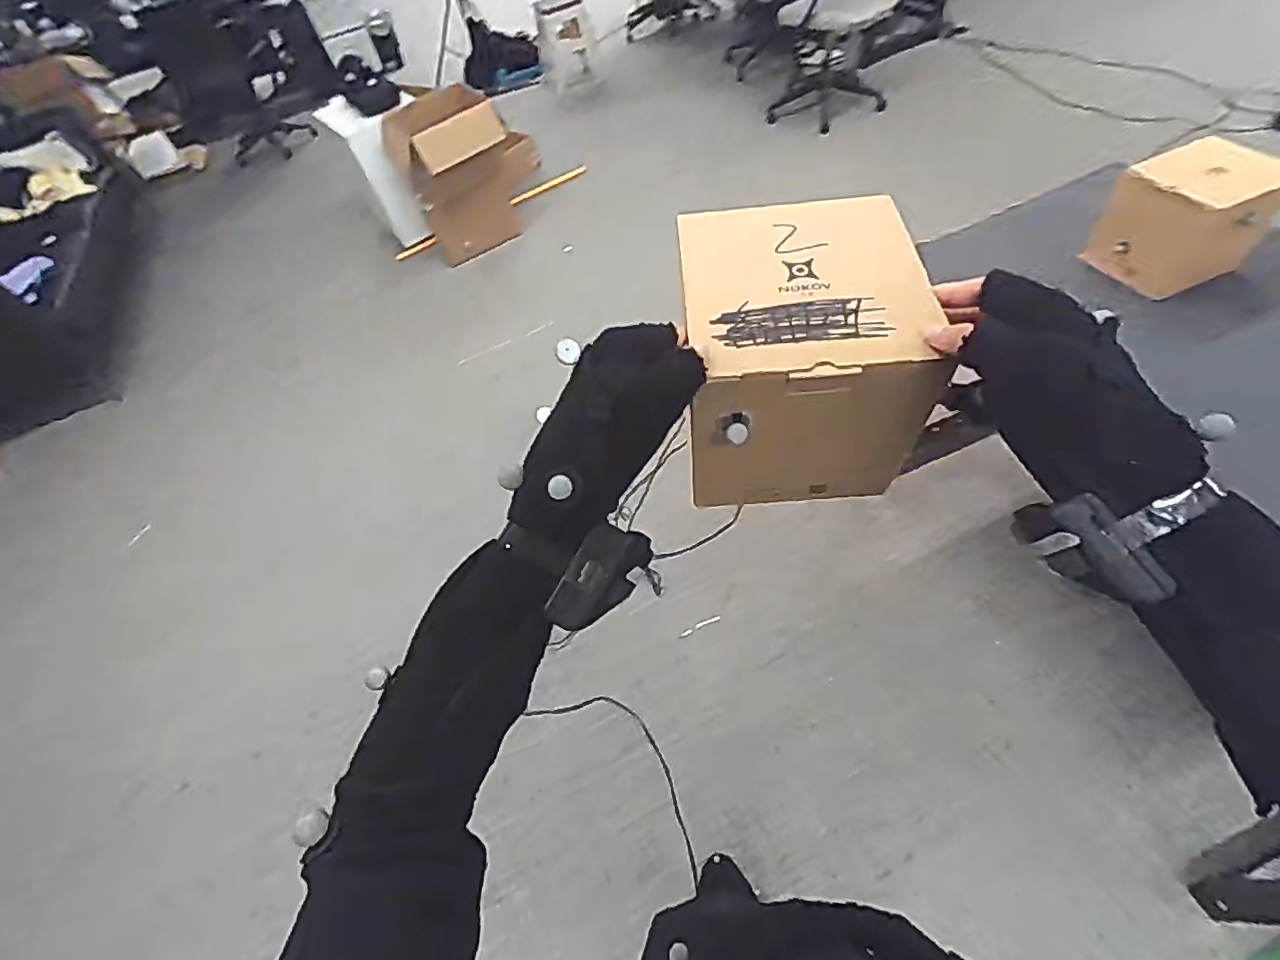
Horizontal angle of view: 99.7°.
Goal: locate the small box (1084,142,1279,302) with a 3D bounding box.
[{"bbox_3d":[0.939,-0.442,0.937,0.179,0.176,0.168,-22,54,-4],"label":"small box"}]
